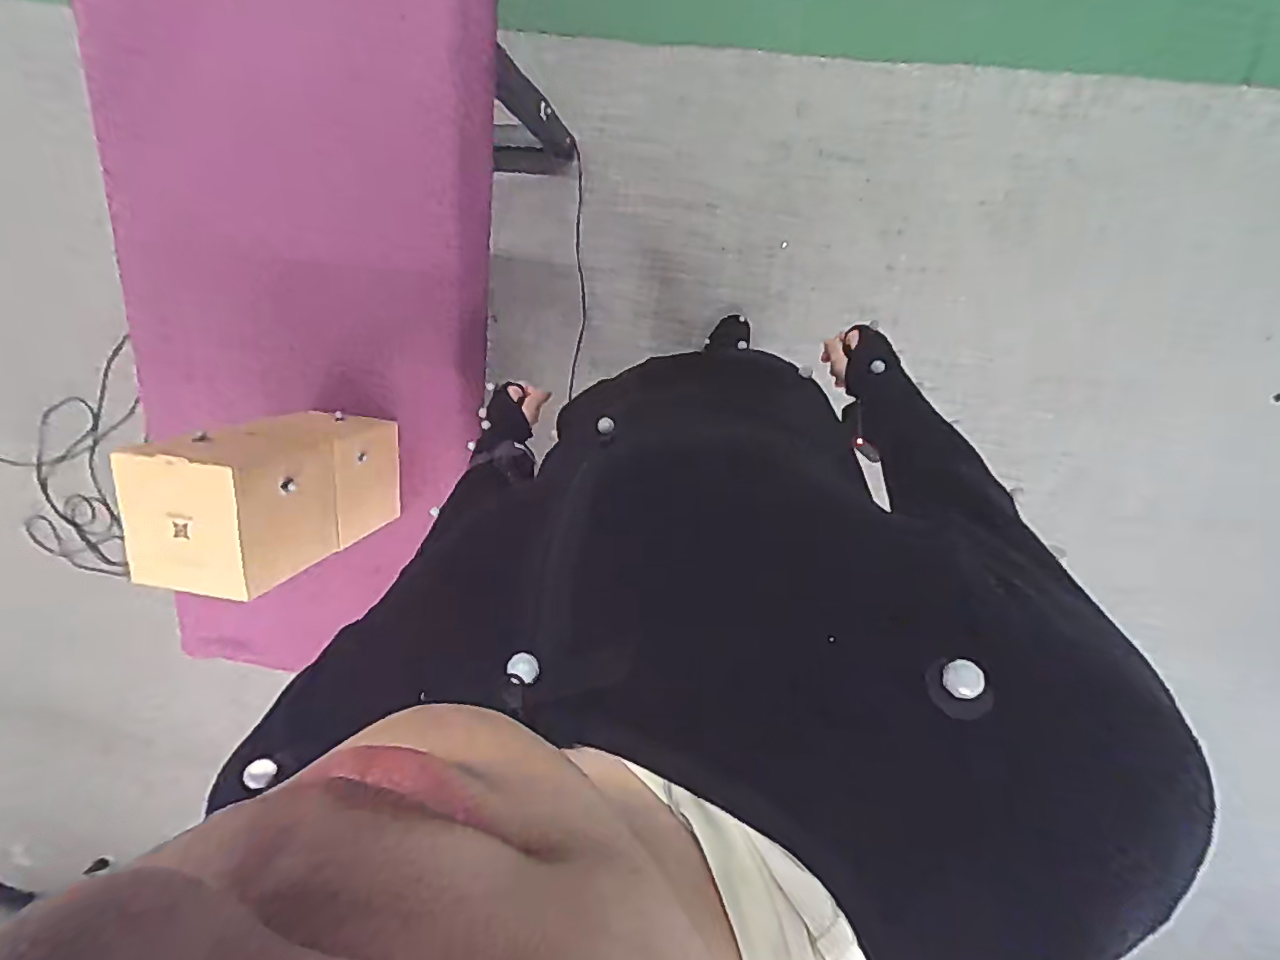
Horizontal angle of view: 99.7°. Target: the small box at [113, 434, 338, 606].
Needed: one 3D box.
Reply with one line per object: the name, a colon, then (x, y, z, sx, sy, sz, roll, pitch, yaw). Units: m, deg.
small box: (-0.537, 0.042, 0.727, 0.168, 0.176, 0.179, 8, 106, 7)
